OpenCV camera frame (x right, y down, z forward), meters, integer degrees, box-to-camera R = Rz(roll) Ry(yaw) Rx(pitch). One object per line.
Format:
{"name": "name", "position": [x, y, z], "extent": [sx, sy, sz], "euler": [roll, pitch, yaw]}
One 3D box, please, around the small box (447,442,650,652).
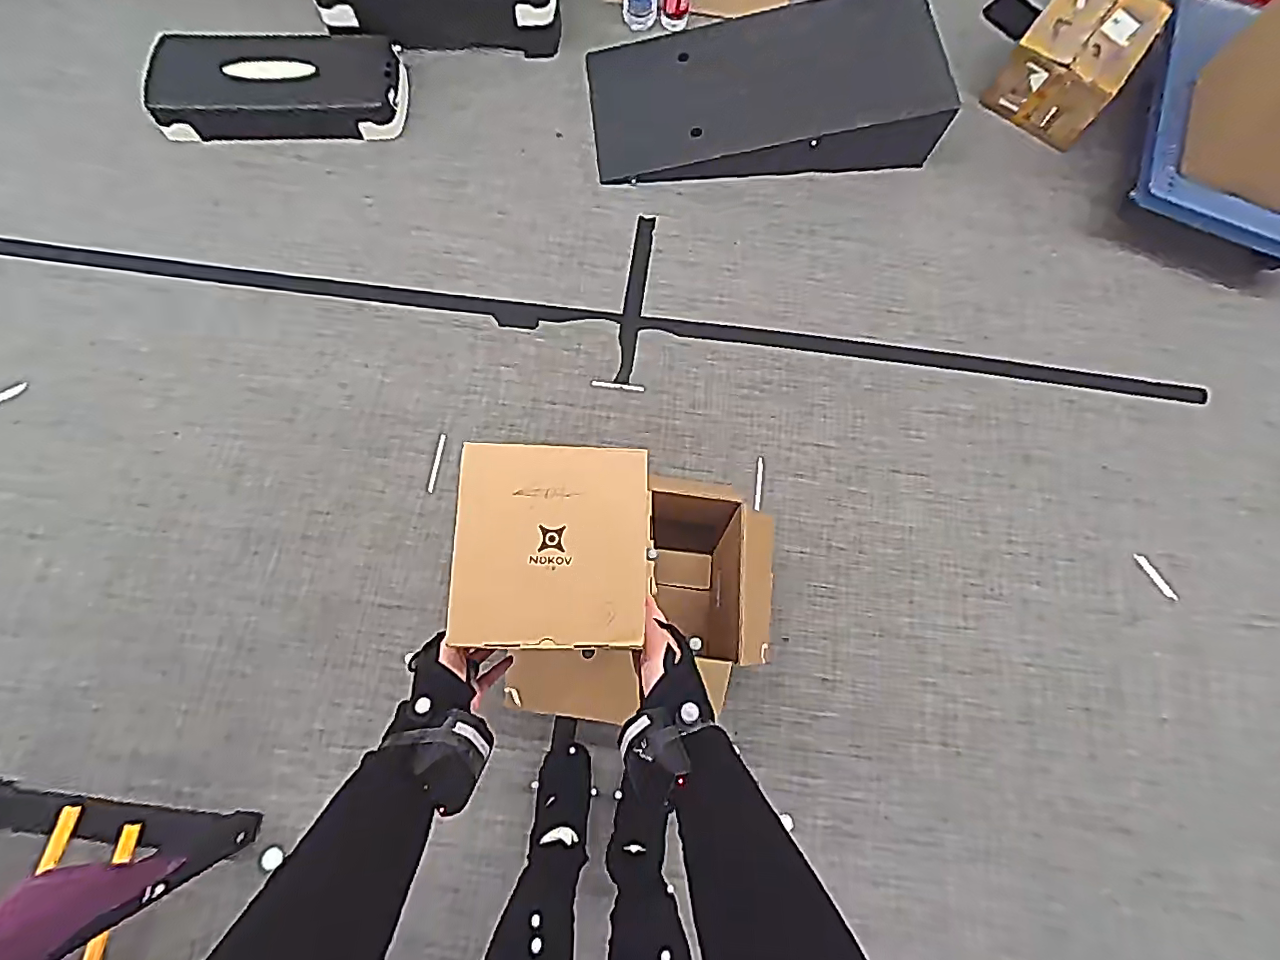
{"name": "small box", "position": [-0.082, 0.071, 0.543], "extent": [0.168, 0.176, 0.179], "euler": [3, 78, -6]}
